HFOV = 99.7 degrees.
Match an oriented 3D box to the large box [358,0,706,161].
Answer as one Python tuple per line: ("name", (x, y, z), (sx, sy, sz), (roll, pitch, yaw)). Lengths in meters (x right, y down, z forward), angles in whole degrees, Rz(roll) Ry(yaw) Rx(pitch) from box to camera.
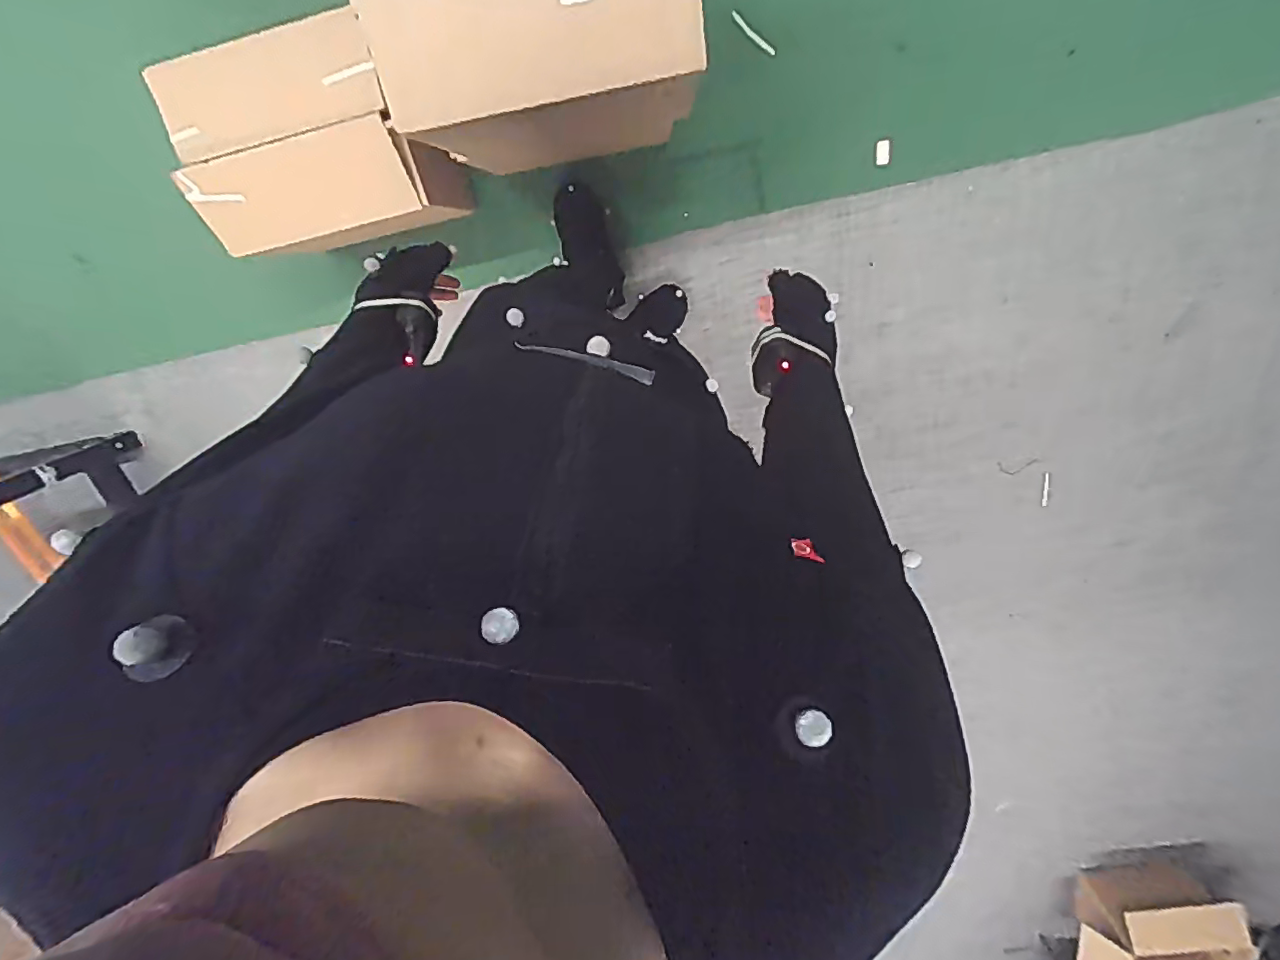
("large box", (-0.141, -0.671, 0.749), (0.408, 0.320, 0.320), (-9, 115, 4))
